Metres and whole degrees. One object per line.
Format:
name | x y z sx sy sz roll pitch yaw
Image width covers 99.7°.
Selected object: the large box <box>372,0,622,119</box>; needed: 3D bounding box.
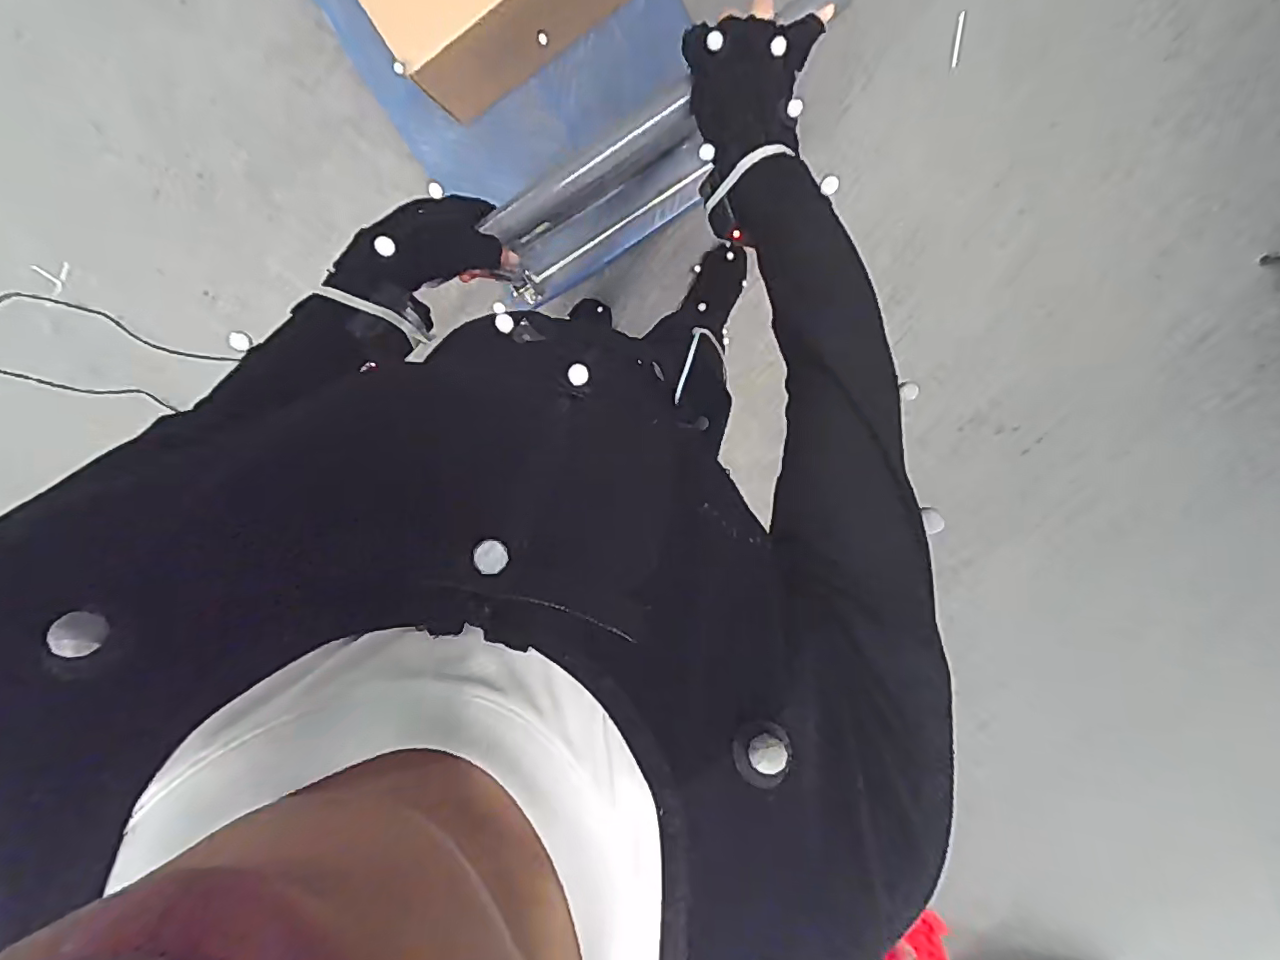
large box | -0.235 -0.860 0.834 0.408 0.320 0.320 -31 110 10
